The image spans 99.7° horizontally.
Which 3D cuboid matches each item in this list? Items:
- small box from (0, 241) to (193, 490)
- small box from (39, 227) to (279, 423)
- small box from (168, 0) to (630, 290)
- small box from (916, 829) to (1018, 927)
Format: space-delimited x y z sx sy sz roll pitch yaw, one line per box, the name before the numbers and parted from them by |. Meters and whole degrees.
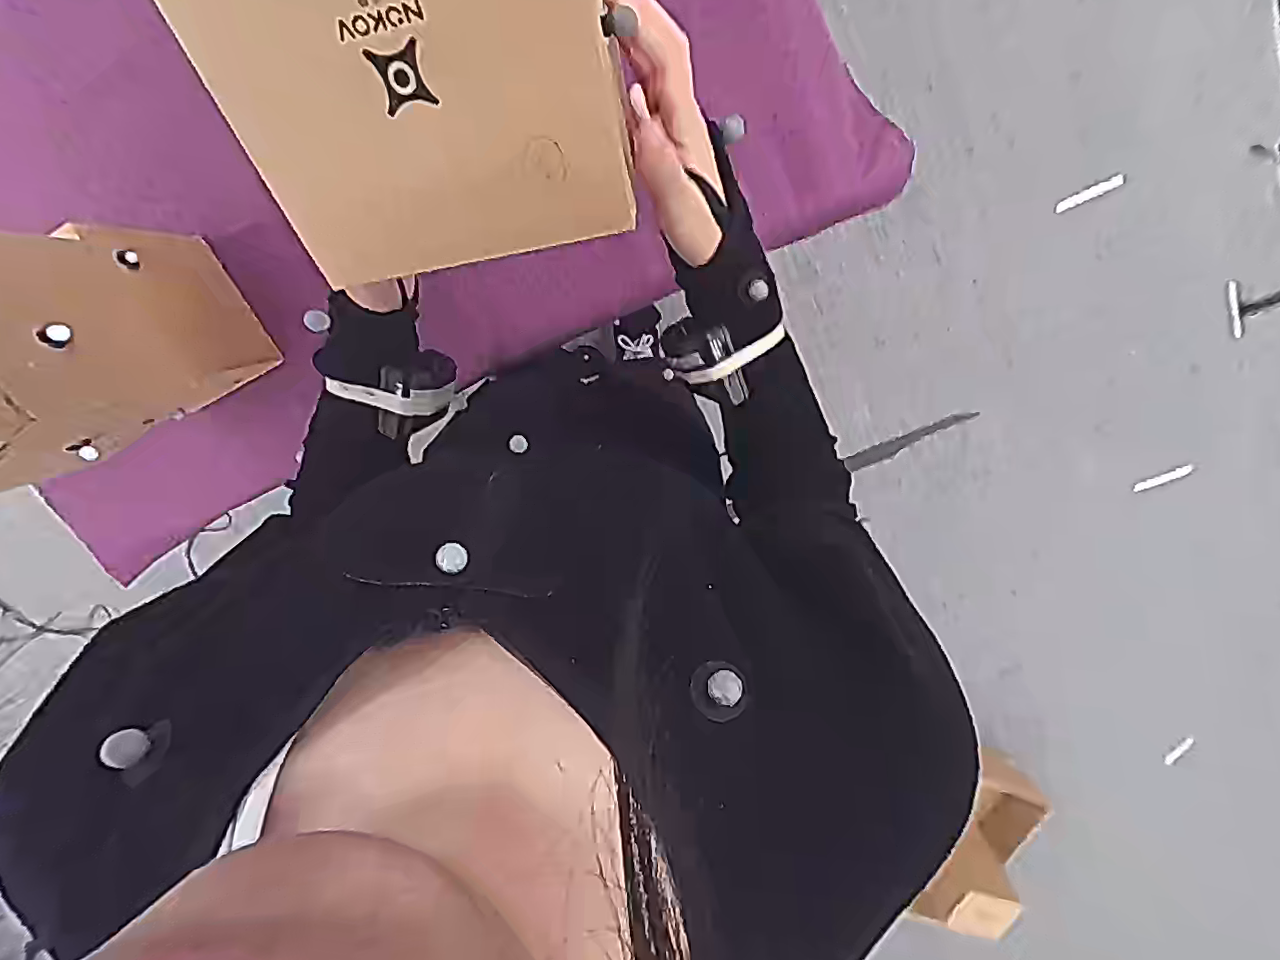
small box | -0.583 -0.103 0.497 0.168 0.176 0.179 -29 106 11
small box | -0.590 -0.174 0.646 0.168 0.176 0.179 -24 106 10
small box | -0.099 -0.229 0.285 0.168 0.176 0.179 -8 133 6
small box | 0.980 1.201 1.641 0.179 0.176 0.168 15 111 -5
